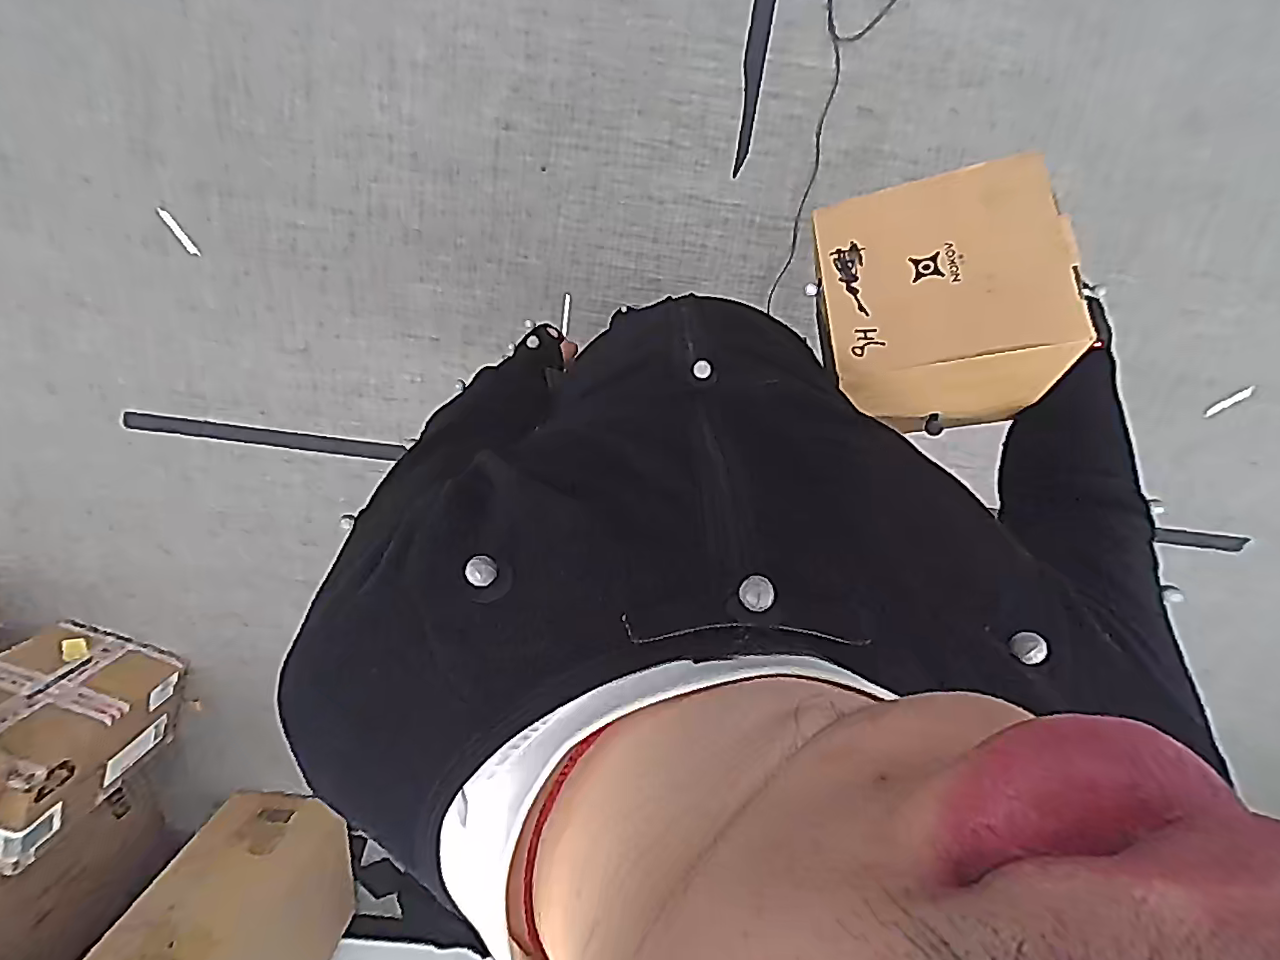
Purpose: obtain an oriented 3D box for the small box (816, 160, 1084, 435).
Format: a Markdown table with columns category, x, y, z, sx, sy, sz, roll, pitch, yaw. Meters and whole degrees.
| category | x | y | z | sx | sy | sz | roll | pitch | yaw |
| --- | --- | --- | --- | --- | --- | --- | --- | --- | --- |
| small box | 0.267 | -0.154 | 0.515 | 0.179 | 0.176 | 0.168 | -6 | 73 | 17 |
